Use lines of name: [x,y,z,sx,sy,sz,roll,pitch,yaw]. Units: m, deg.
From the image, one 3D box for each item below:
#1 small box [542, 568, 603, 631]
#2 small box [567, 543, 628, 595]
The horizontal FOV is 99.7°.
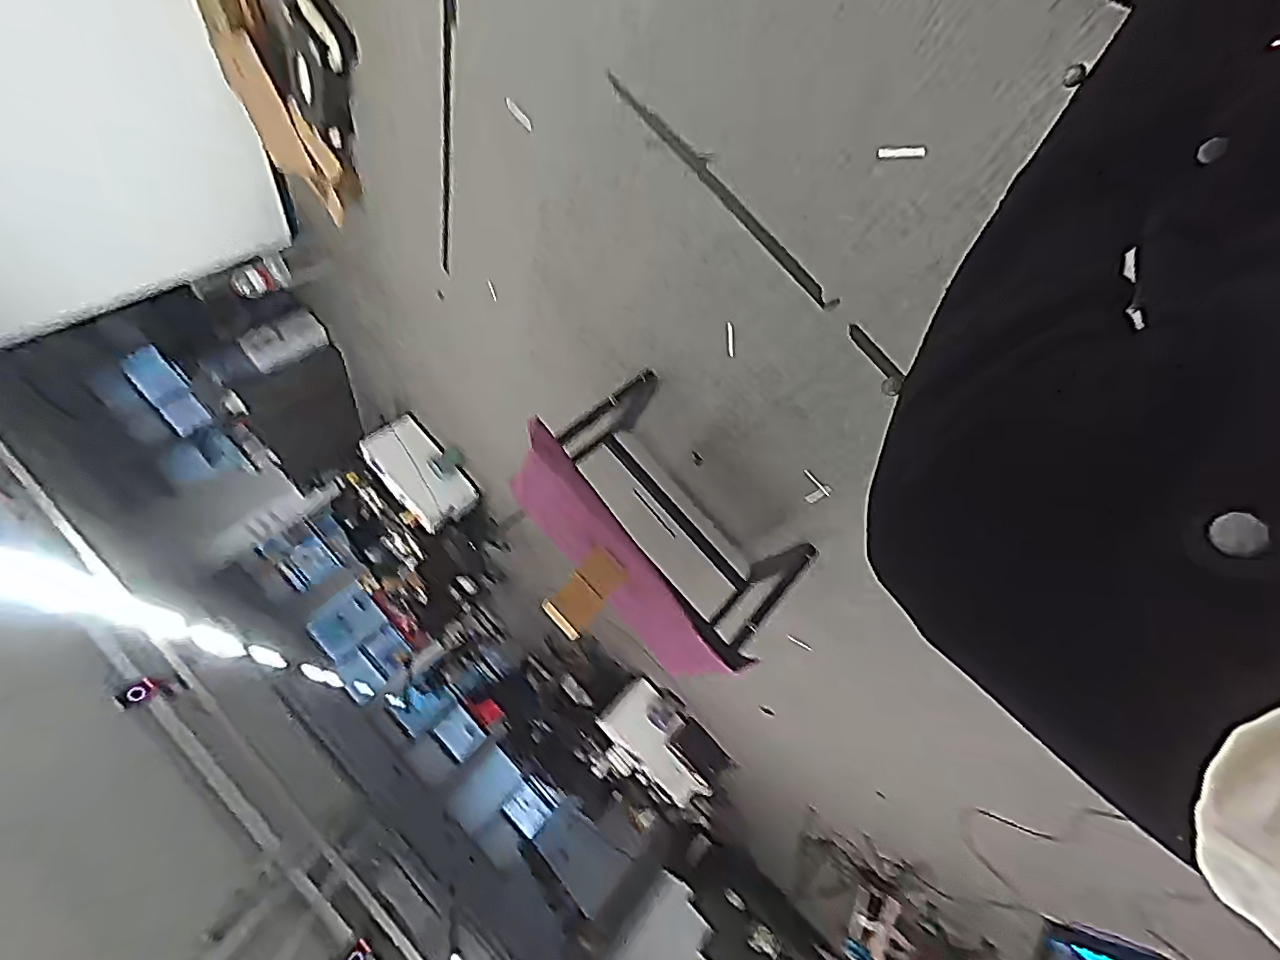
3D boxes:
small box: [-0.278,0.495,2.239,0.179,0.176,0.168,47,152,5]
small box: [-0.184,0.391,2.326,0.179,0.176,0.168,47,153,6]
